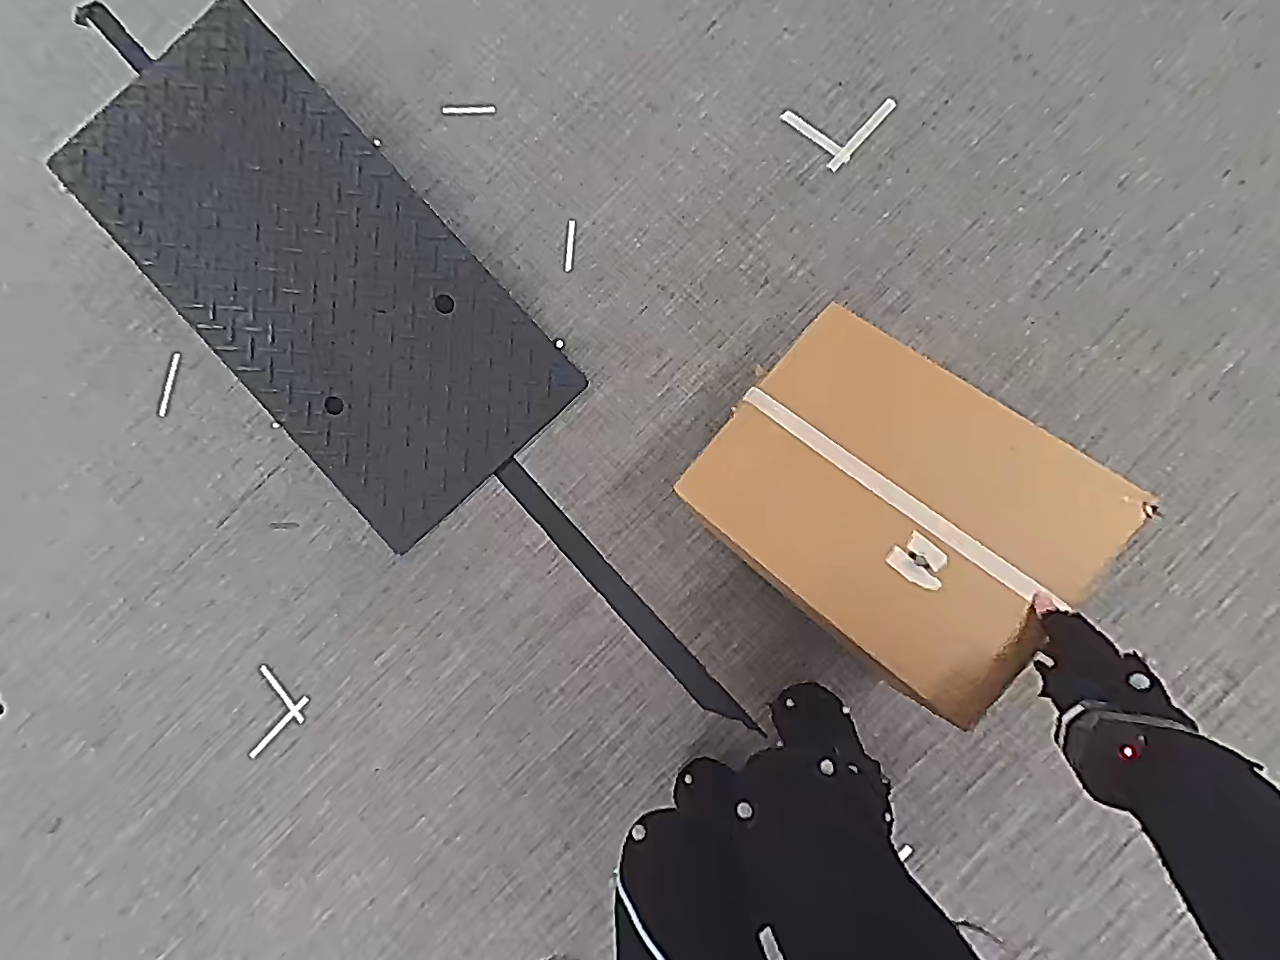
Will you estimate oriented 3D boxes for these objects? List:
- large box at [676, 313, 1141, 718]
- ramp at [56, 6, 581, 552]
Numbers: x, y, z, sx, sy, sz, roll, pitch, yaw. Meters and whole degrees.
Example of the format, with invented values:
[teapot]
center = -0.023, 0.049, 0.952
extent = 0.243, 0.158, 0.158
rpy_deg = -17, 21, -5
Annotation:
[large box]
center = 0.317, 0.050, 0.763
extent = 0.408, 0.320, 0.320
rpy_deg = 40, 89, 19
[ramp]
center = -0.614, -0.385, 1.040
extent = 0.509, 0.206, 0.991
rpy_deg = -44, 79, 0
